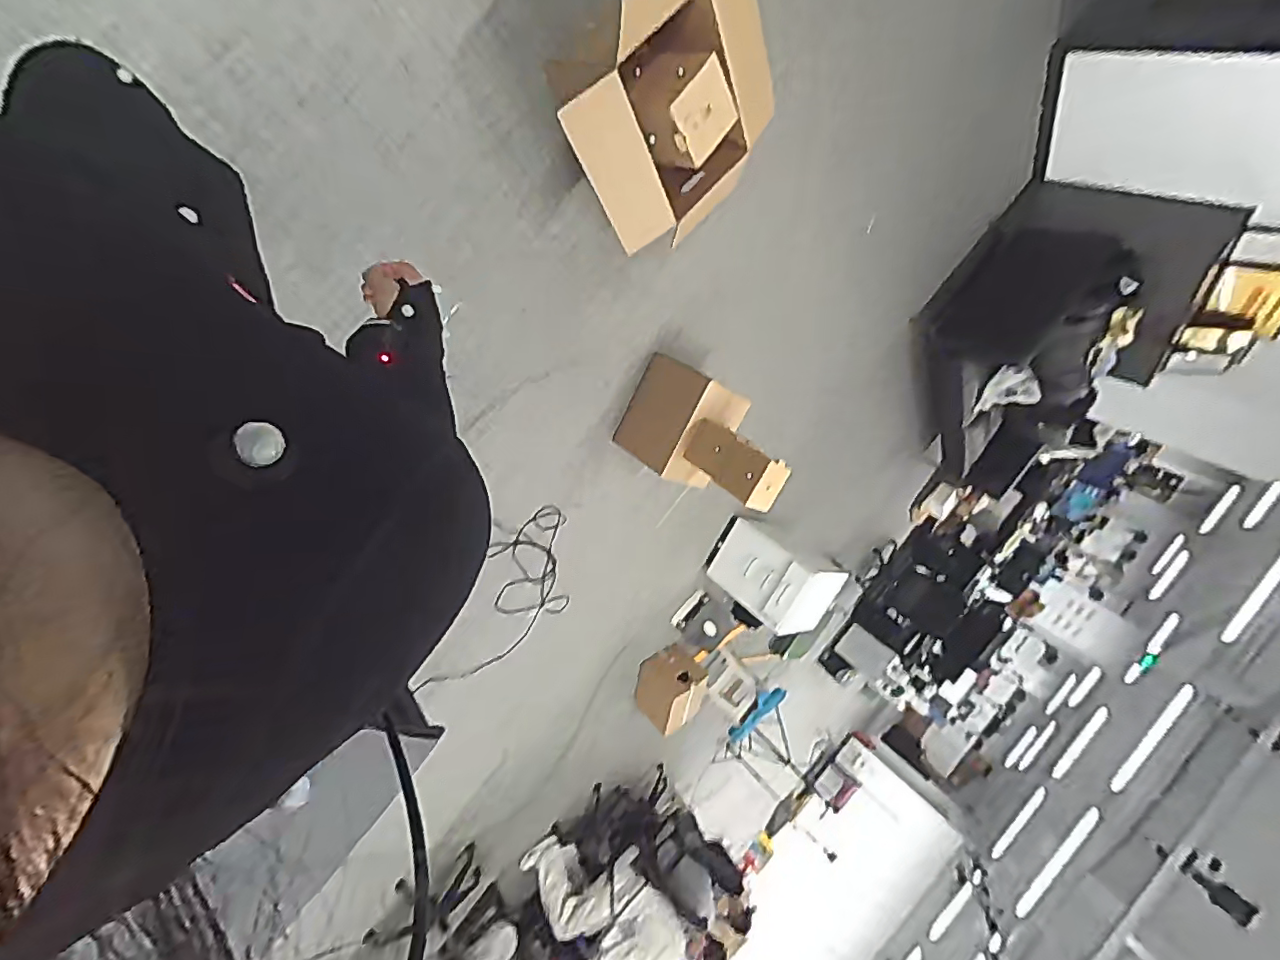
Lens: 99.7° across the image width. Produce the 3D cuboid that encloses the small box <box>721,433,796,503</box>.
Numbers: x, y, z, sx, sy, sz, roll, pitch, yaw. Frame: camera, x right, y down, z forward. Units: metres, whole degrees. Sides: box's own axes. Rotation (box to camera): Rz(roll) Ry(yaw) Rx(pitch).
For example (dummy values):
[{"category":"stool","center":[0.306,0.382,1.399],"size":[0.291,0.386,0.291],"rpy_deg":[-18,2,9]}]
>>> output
[{"category":"small box","center":[0.412,-0.041,1.919],"size":[0.168,0.176,0.179],"rpy_deg":[14,108,-49]}]

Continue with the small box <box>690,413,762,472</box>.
[{"category":"small box","center":[0.317,-0.131,2.016],"size":[0.168,0.176,0.179],"rpy_deg":[13,109,-49]}]

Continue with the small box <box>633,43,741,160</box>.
[{"category":"small box","center":[0.115,-0.941,1.348],"size":[0.179,0.176,0.168],"rpy_deg":[-52,140,-1]}]
